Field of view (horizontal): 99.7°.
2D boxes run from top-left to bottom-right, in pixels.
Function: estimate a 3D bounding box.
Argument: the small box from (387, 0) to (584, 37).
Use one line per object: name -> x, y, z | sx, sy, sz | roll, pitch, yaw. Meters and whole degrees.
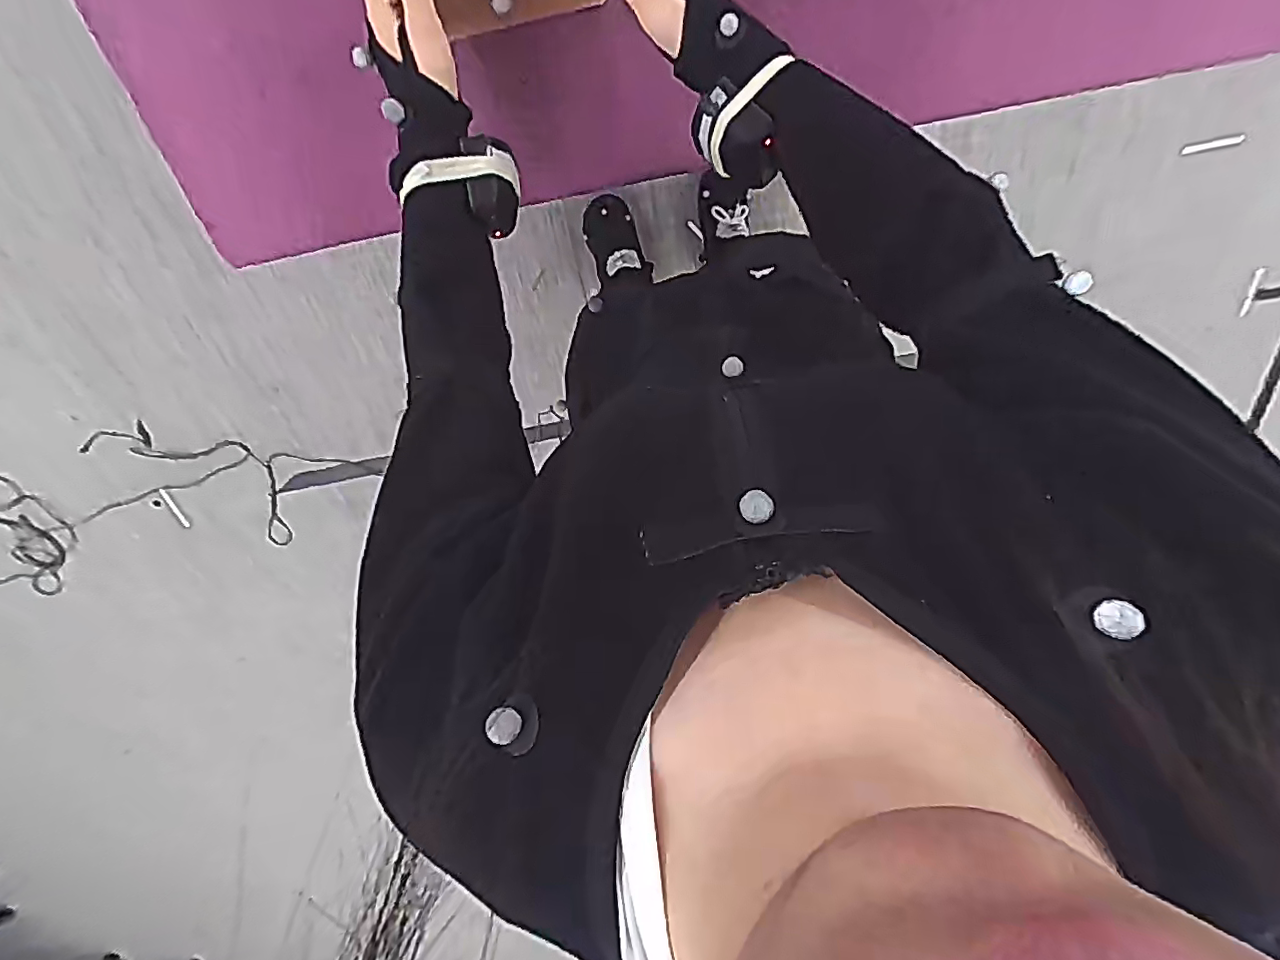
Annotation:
small box -> -0.125, -0.471, 0.412 | 0.179, 0.176, 0.168 | -13, 120, 1
